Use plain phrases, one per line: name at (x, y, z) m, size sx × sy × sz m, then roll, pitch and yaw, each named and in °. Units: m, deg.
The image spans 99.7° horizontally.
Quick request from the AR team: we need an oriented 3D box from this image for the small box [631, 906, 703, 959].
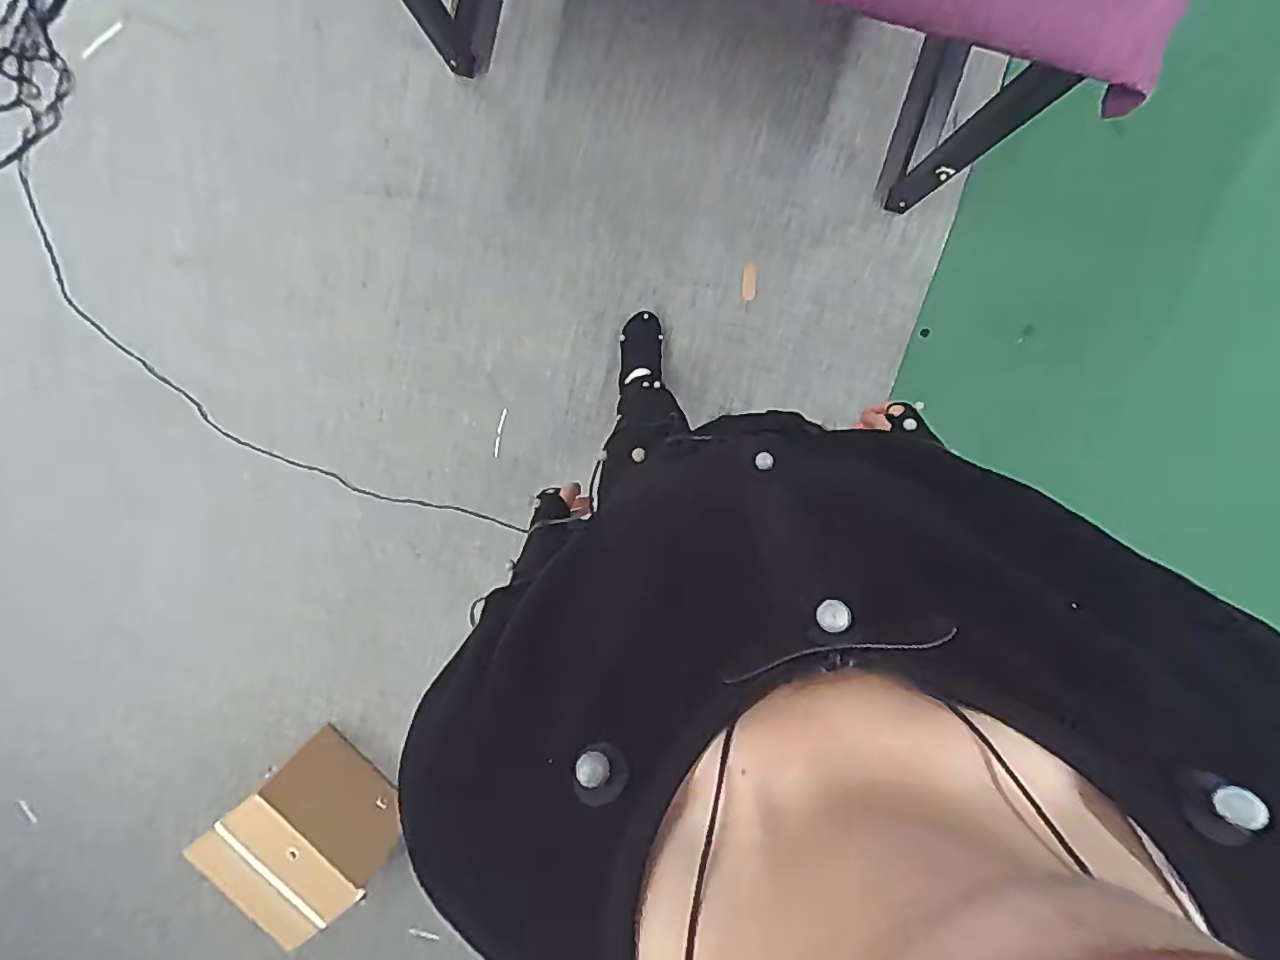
small box at (0.061, 1.170, 1.293) m, size 0.168 × 0.176 × 0.179 m, roll 3°, pitch 99°, yaw 3°
